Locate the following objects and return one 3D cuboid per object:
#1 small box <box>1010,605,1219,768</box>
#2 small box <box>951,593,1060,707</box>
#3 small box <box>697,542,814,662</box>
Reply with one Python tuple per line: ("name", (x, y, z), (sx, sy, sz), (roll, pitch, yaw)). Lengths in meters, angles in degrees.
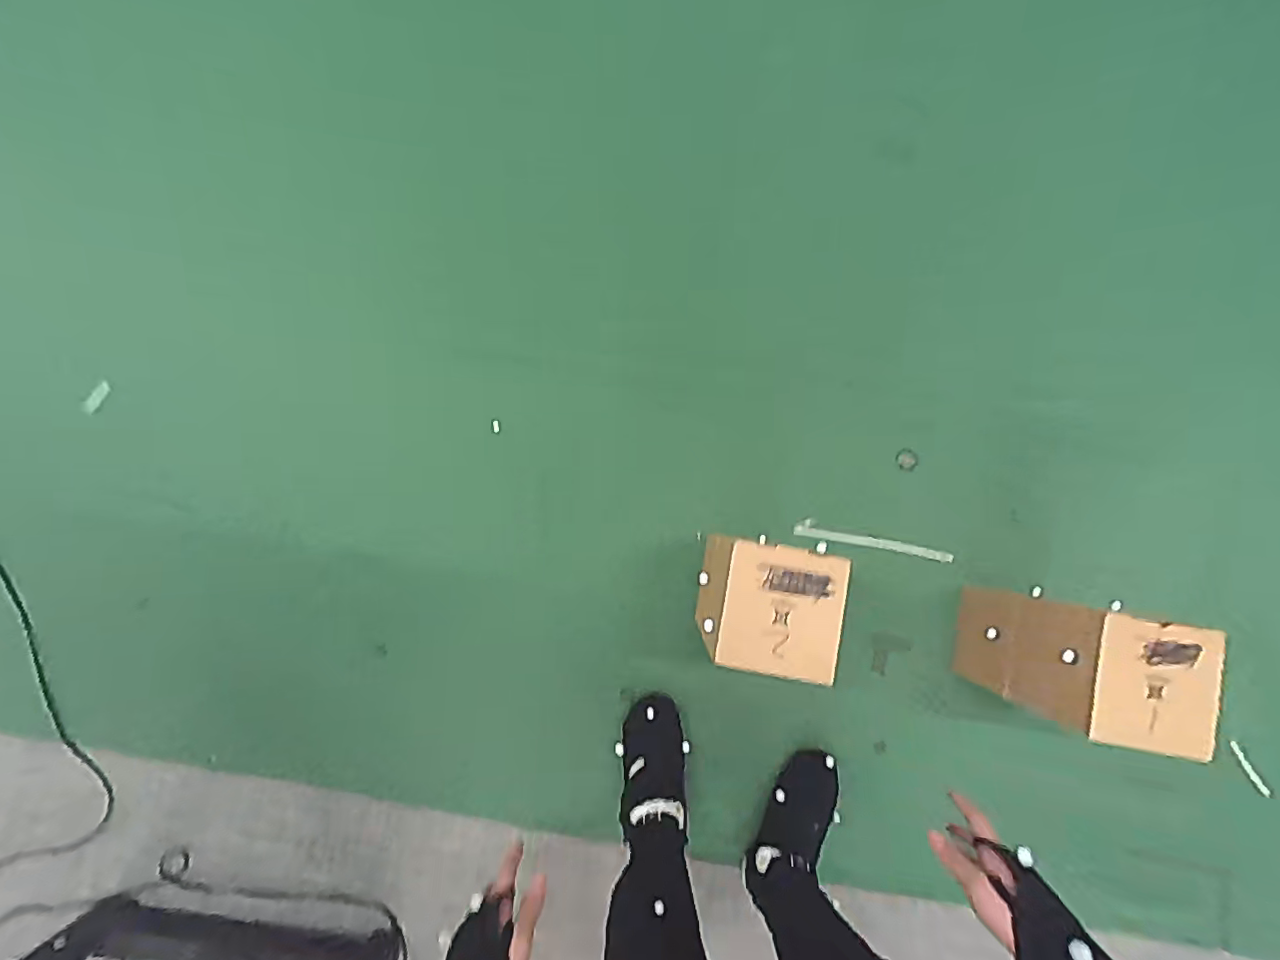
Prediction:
("small box", (0.696, 0.295, 0.813), (0.168, 0.176, 0.179), (11, 85, 1))
("small box", (0.694, 0.310, 0.976), (0.168, 0.176, 0.179), (11, 85, 1))
("small box", (0.202, 0.214, 0.991), (0.168, 0.176, 0.179), (10, 84, 2))
